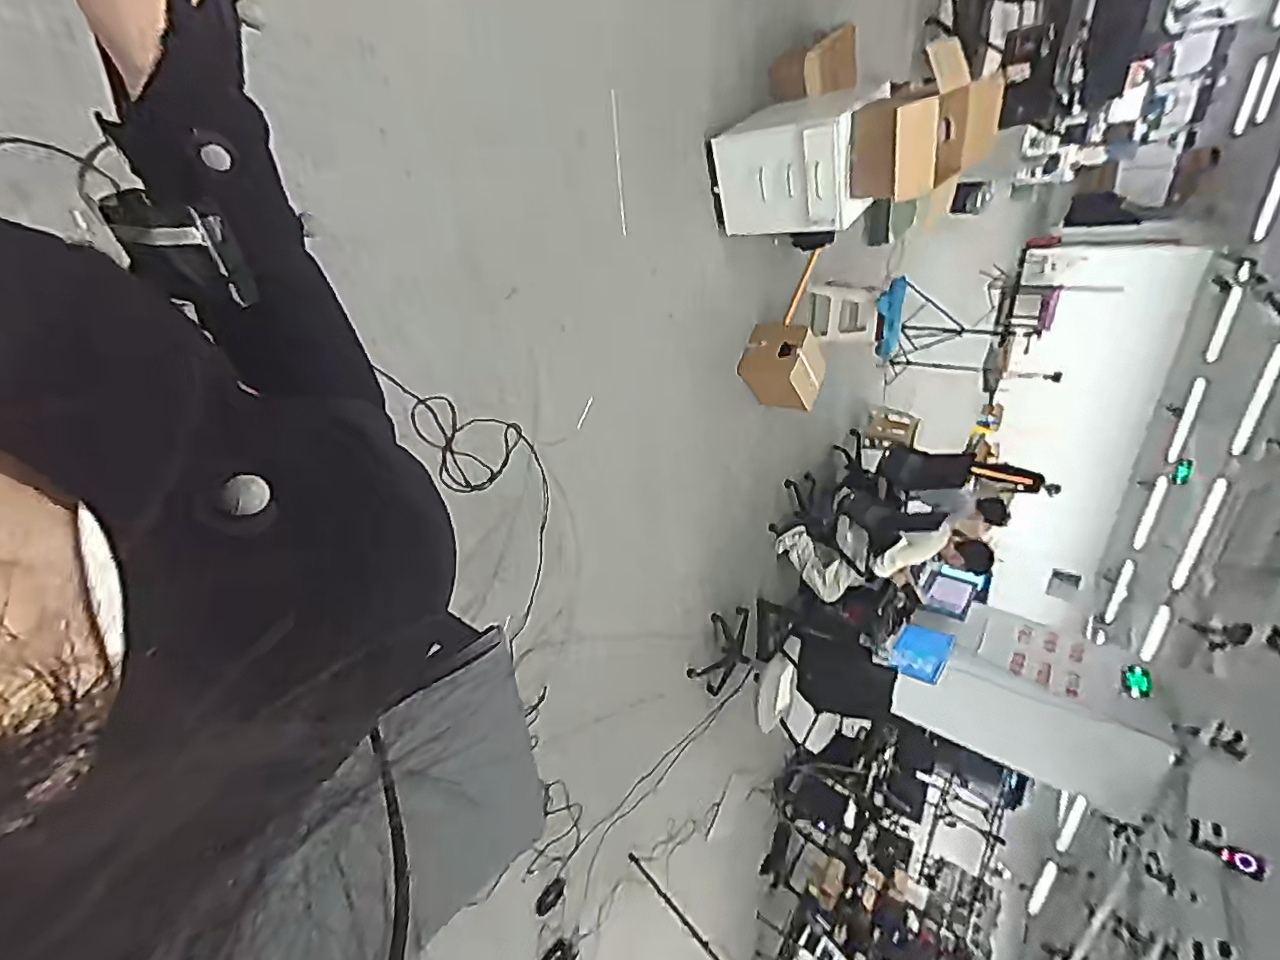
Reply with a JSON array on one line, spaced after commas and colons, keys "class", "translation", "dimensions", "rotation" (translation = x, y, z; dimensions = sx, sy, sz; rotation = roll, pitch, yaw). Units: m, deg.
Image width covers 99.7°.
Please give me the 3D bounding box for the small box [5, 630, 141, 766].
[{"class": "small box", "translation": [-1.148, 0.429, 1.095], "dimensions": [0.179, 0.176, 0.168], "rotation": [-5, 108, -53]}]
